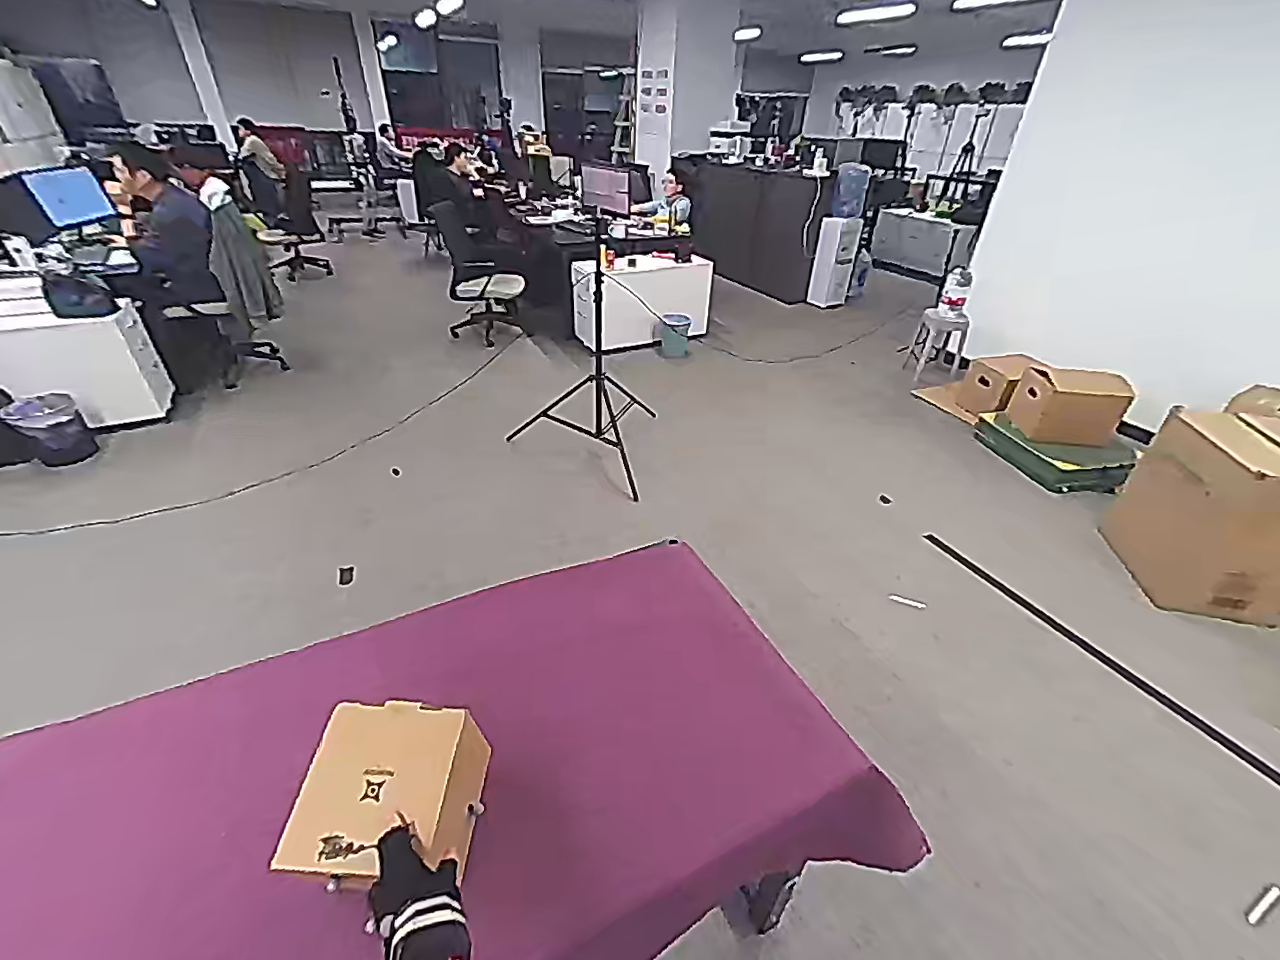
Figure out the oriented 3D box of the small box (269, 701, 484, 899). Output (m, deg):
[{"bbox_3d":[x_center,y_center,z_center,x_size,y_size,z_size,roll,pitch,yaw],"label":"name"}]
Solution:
[{"bbox_3d":[-0.303,0.398,0.674,0.168,0.176,0.179,3,48,1],"label":"small box"}]
